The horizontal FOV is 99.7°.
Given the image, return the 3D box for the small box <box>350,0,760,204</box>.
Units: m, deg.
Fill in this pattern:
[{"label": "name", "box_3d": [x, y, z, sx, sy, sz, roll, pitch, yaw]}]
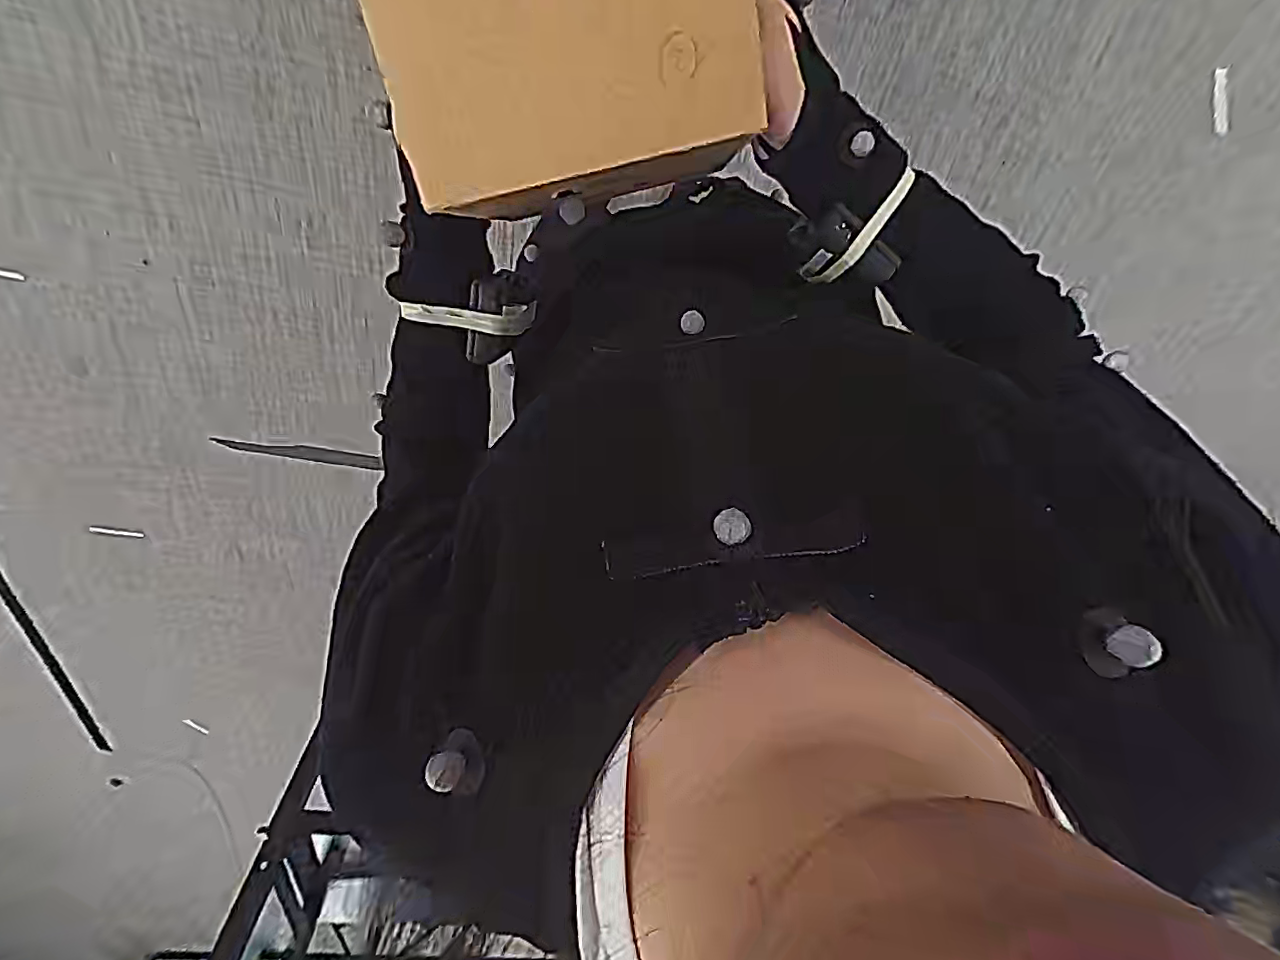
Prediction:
[{"label": "small box", "box_3d": [-0.039, -0.256, 0.284, 0.168, 0.176, 0.179, -11, 113, 7]}]
